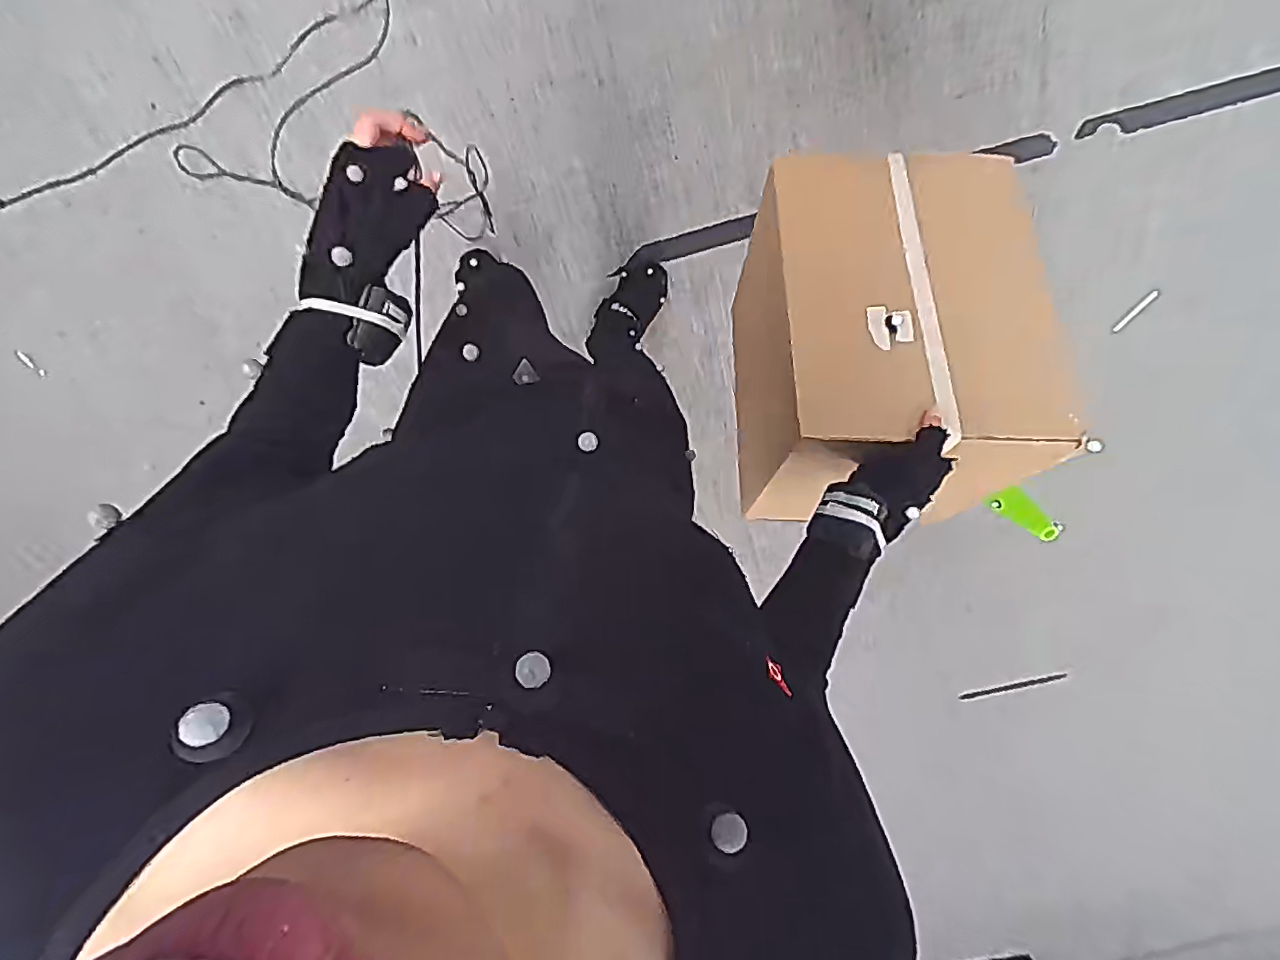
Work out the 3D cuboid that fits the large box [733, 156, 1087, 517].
[{"bbox_3d":[0.321,-0.179,0.775,0.320,0.408,0.320,1,161,1],"label":"large box"}]
